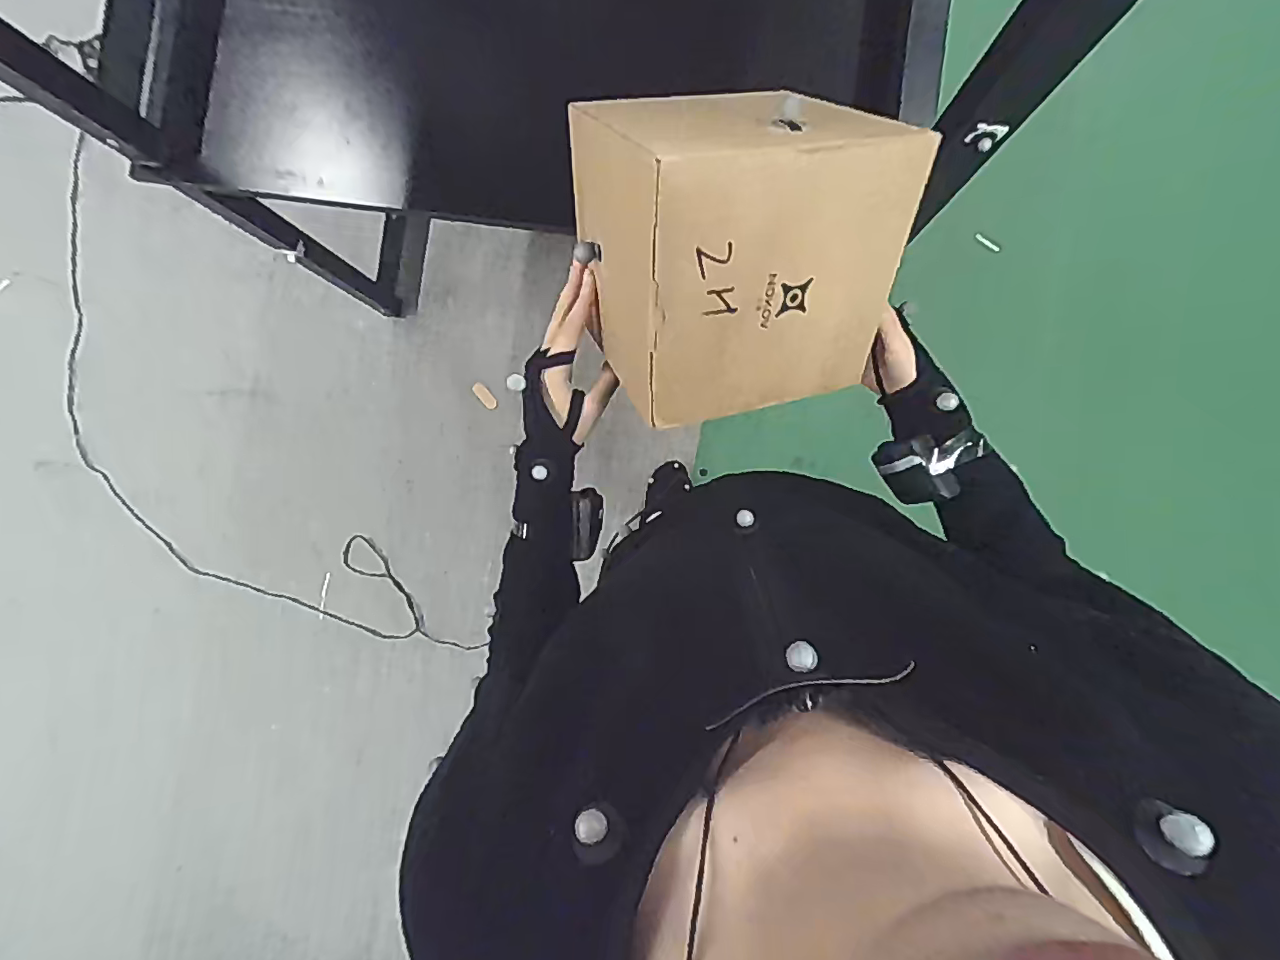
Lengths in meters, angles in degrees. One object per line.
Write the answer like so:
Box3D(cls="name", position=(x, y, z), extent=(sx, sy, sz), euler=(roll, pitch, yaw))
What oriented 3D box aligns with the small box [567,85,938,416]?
Box3D(cls="small box", position=(0.057, -0.172, 0.386), extent=(0.179, 0.168, 0.176), euler=(-12, 43, -15))
